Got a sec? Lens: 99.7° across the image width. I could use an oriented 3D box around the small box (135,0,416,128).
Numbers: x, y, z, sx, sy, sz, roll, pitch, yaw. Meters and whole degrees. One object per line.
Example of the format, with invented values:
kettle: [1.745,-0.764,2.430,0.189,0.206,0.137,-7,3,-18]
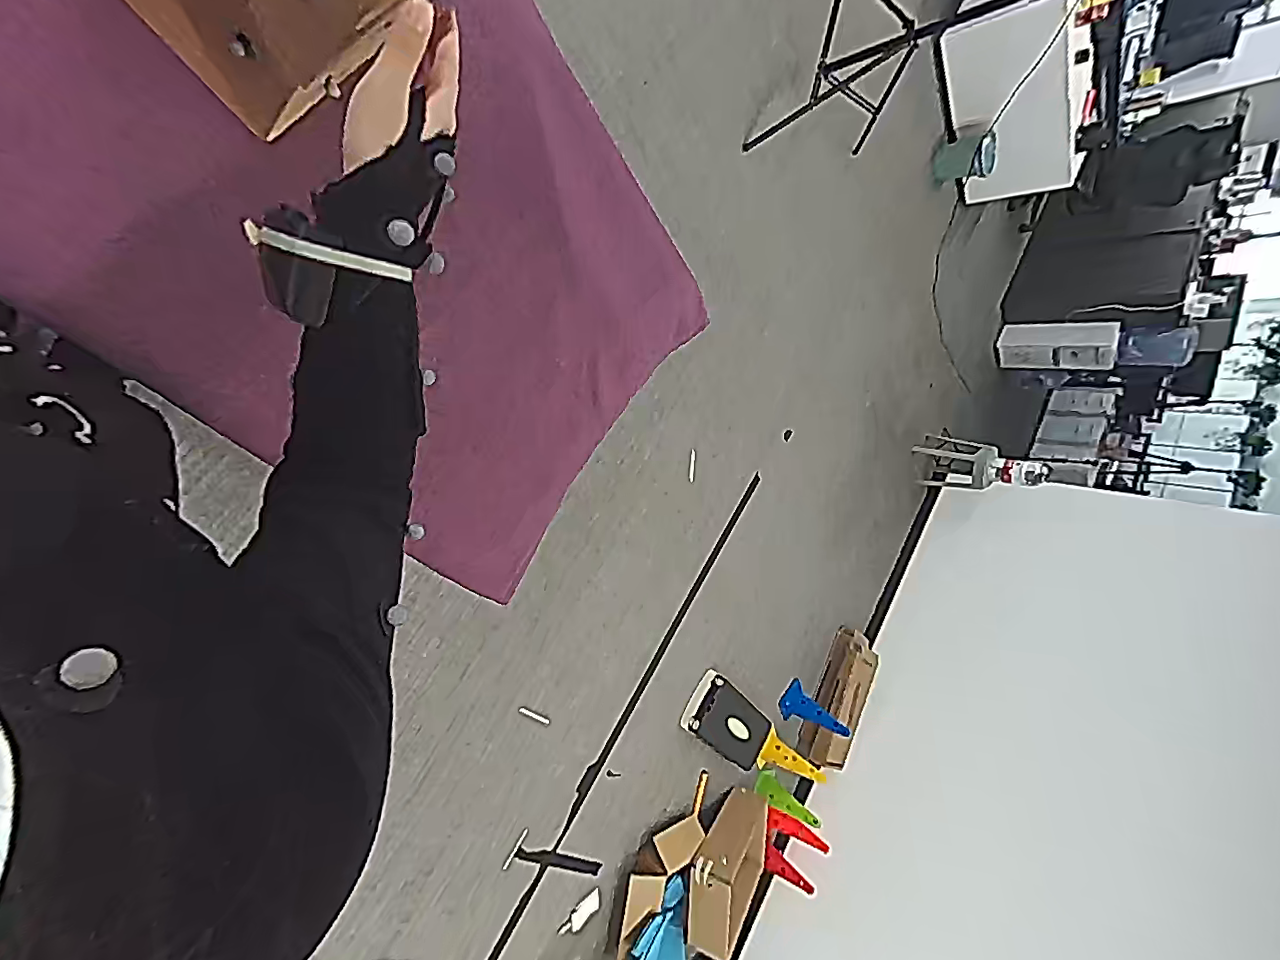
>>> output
small box: [-0.313,-0.435,0.440,0.168,0.176,0.179,-57,133,-18]
